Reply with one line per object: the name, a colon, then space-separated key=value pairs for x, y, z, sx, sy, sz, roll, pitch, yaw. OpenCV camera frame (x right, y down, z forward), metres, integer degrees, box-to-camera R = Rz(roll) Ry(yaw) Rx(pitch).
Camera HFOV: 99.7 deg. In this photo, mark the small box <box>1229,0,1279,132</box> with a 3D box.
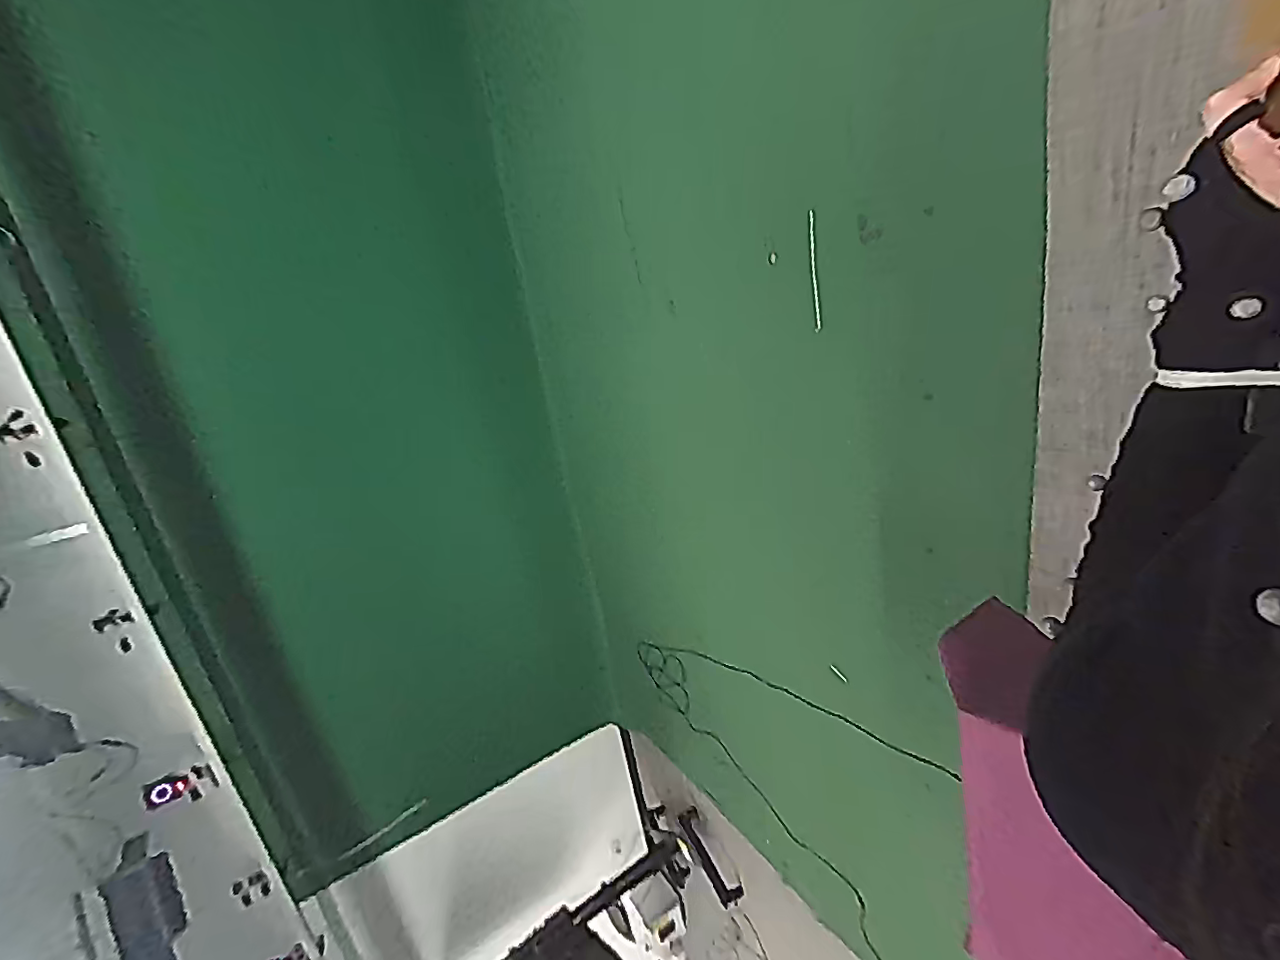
small box: x=0.449 y=-0.310 z=0.258 sx=0.179 sy=0.168 sz=0.176 roll=9 pitch=77 yaw=22
